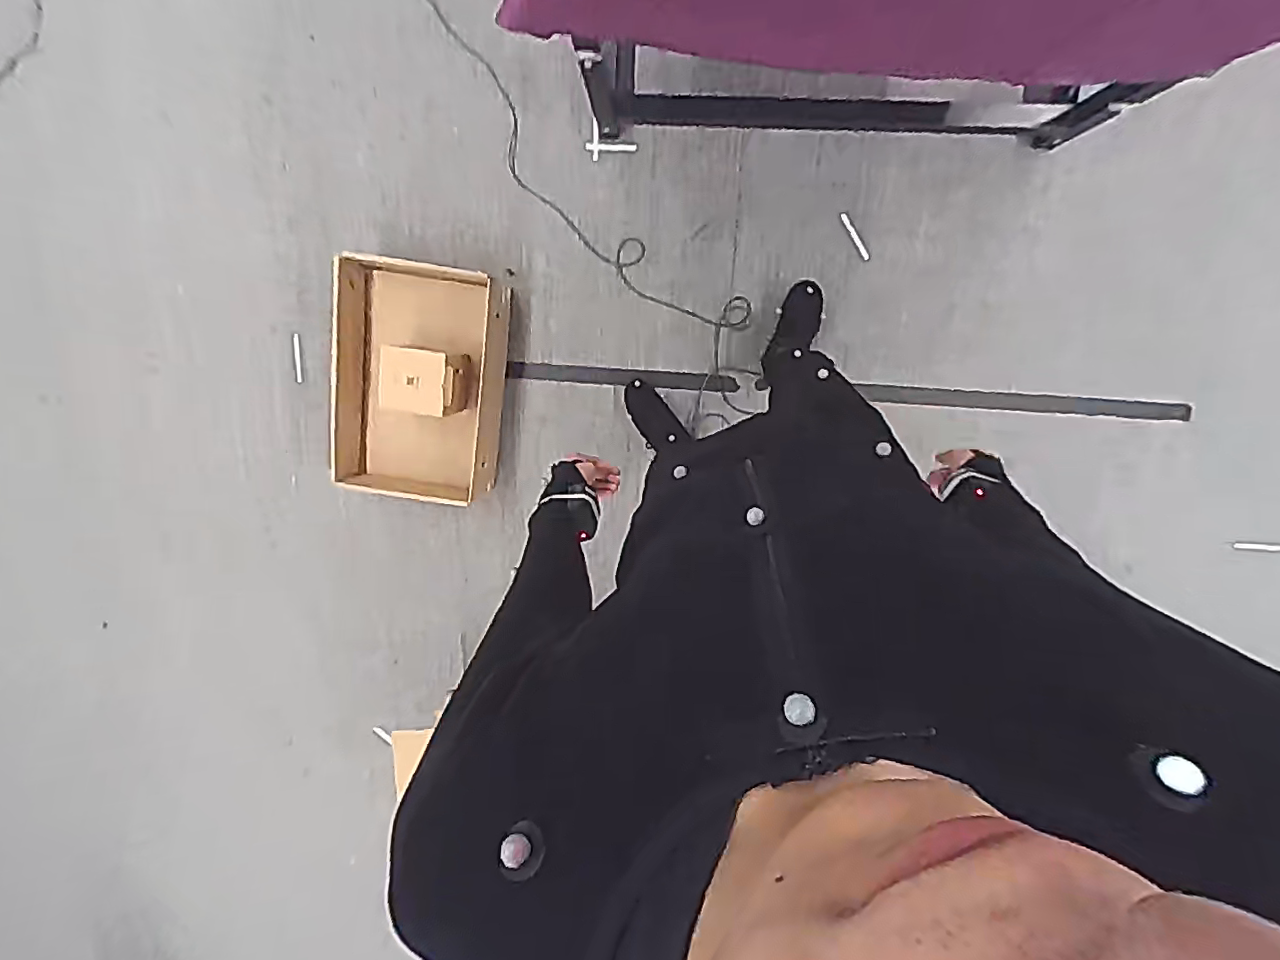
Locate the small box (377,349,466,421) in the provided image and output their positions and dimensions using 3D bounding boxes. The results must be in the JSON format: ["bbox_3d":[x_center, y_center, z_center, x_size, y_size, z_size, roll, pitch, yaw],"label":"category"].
[{"bbox_3d":[-0.586,-0.262,1.468,0.179,0.176,0.168,9,103,0],"label":"small box"}]
